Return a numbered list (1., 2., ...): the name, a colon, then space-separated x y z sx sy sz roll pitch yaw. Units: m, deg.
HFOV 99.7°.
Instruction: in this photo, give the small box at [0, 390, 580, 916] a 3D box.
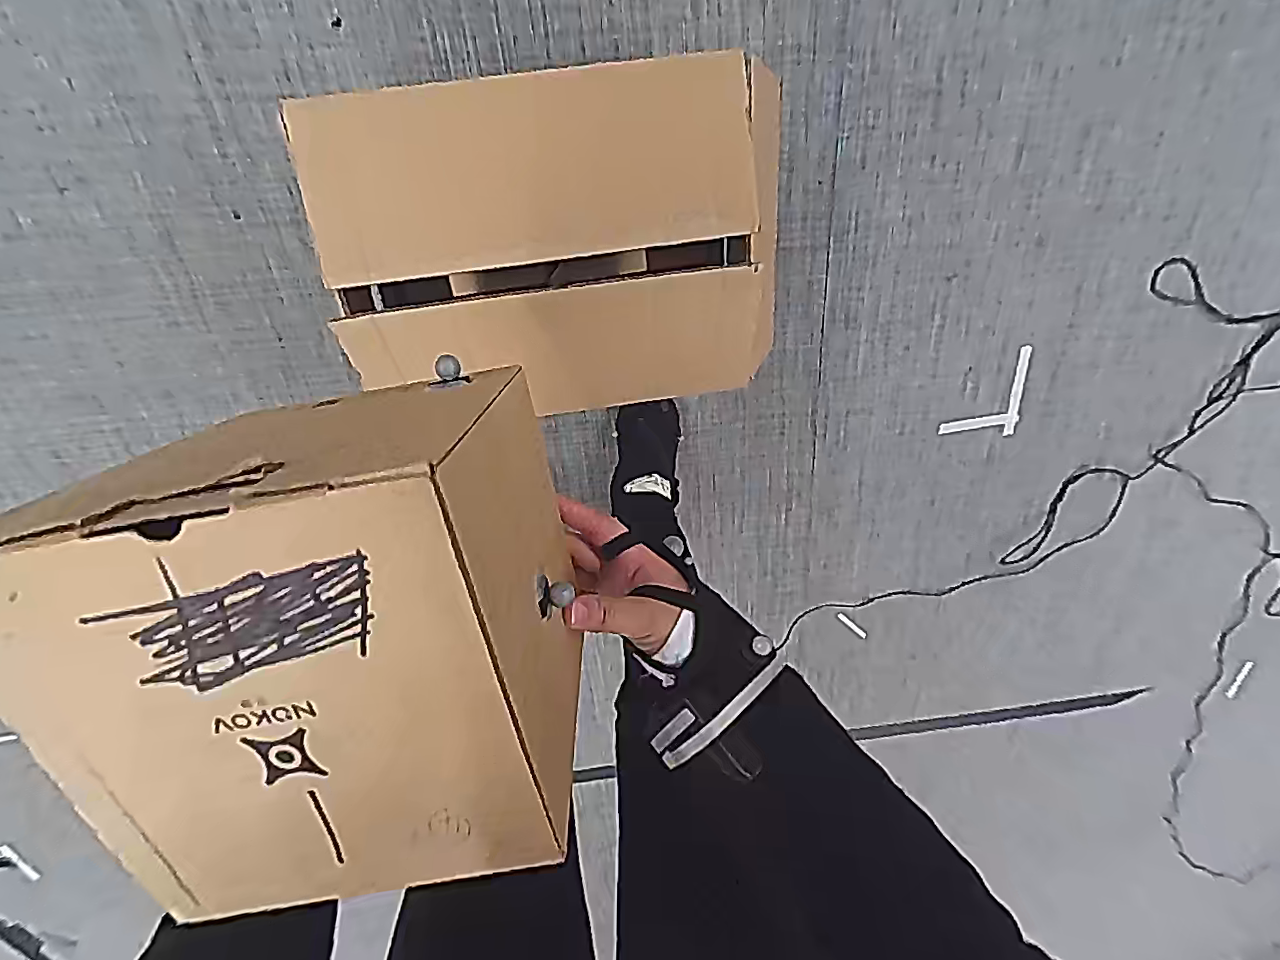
1. small box: -0.128 0.061 0.269 0.168 0.176 0.179 -10 113 1
